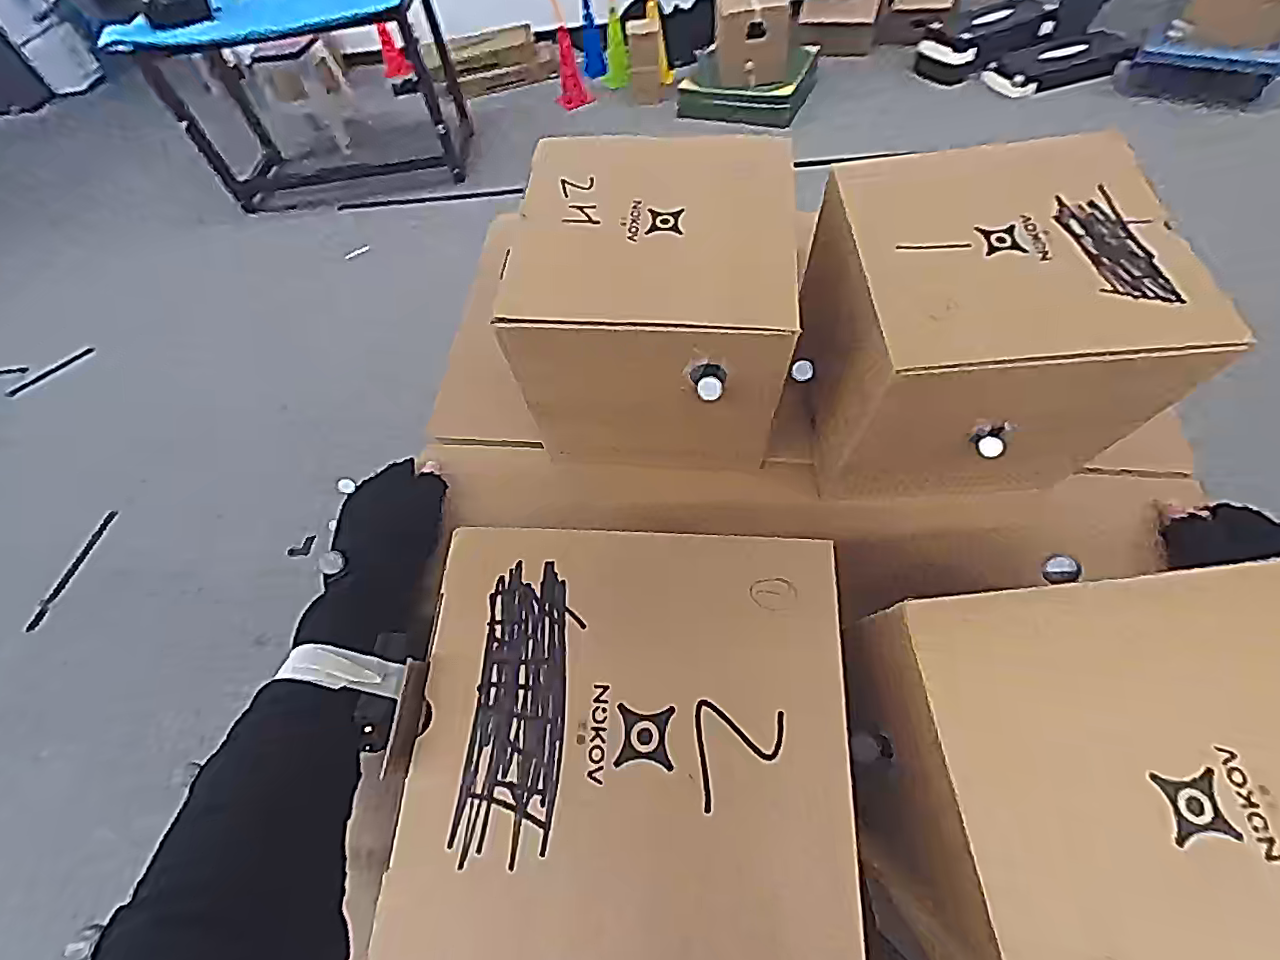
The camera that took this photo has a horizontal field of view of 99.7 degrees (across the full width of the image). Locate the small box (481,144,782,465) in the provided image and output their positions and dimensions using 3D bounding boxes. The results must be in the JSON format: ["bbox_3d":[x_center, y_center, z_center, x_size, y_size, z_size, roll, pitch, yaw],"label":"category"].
[{"bbox_3d":[0.005,-0.121,0.413,0.179,0.176,0.168,3,64,6],"label":"small box"}]
